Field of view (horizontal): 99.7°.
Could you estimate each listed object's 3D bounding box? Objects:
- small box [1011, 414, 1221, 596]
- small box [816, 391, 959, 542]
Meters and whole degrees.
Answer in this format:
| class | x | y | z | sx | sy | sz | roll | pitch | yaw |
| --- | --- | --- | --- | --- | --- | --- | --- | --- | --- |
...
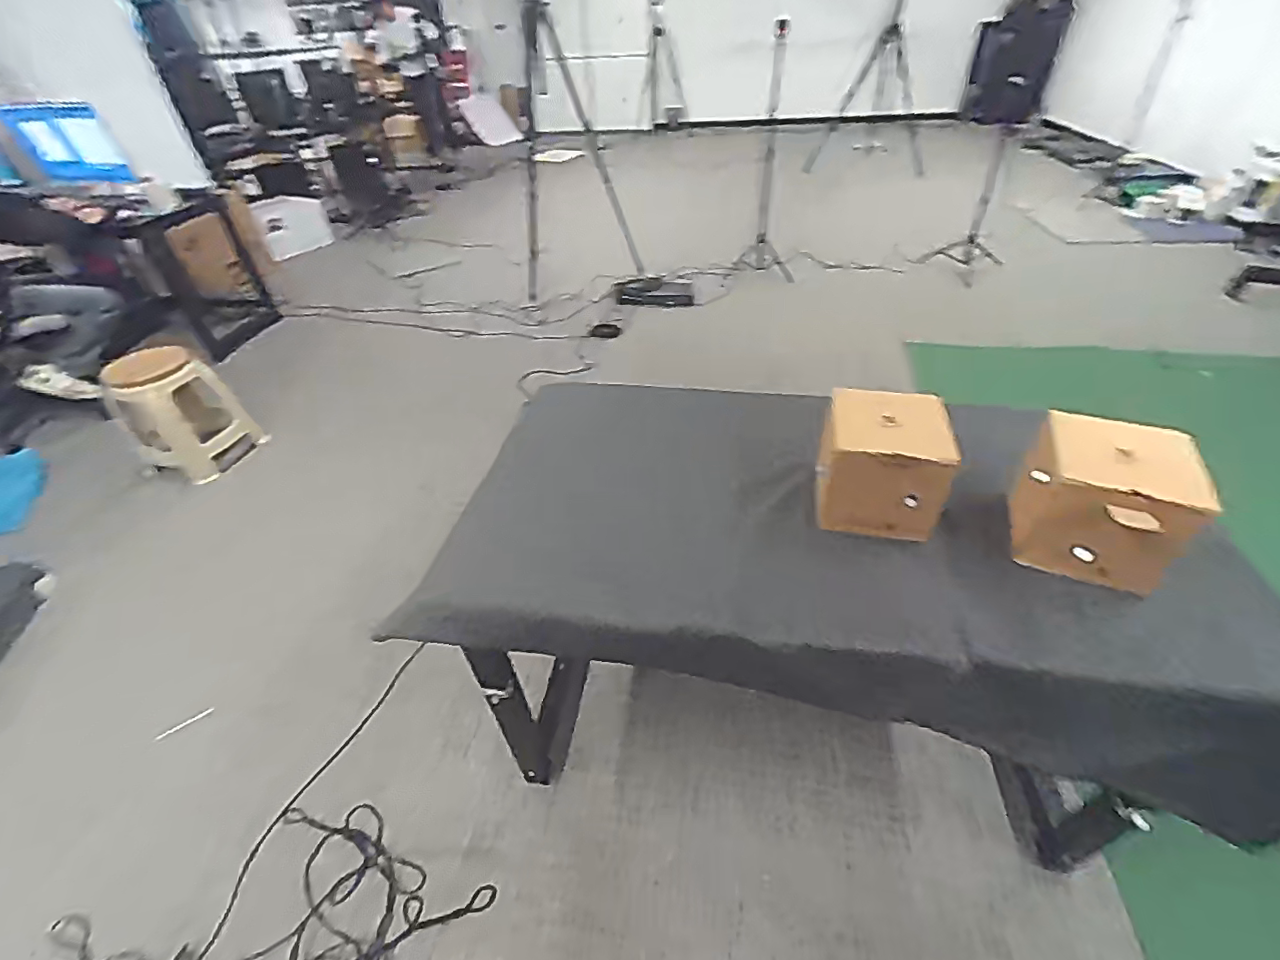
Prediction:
| class | x | y | z | sx | sy | sz | roll | pitch | yaw |
| --- | --- | --- | --- | --- | --- | --- | --- | --- | --- |
| small box | 0.664 | 0.033 | 0.784 | 0.168 | 0.176 | 0.179 | 15 | 44 | 21 |
| small box | 0.384 | -0.022 | 0.870 | 0.168 | 0.176 | 0.179 | 7 | 41 | 11 |
